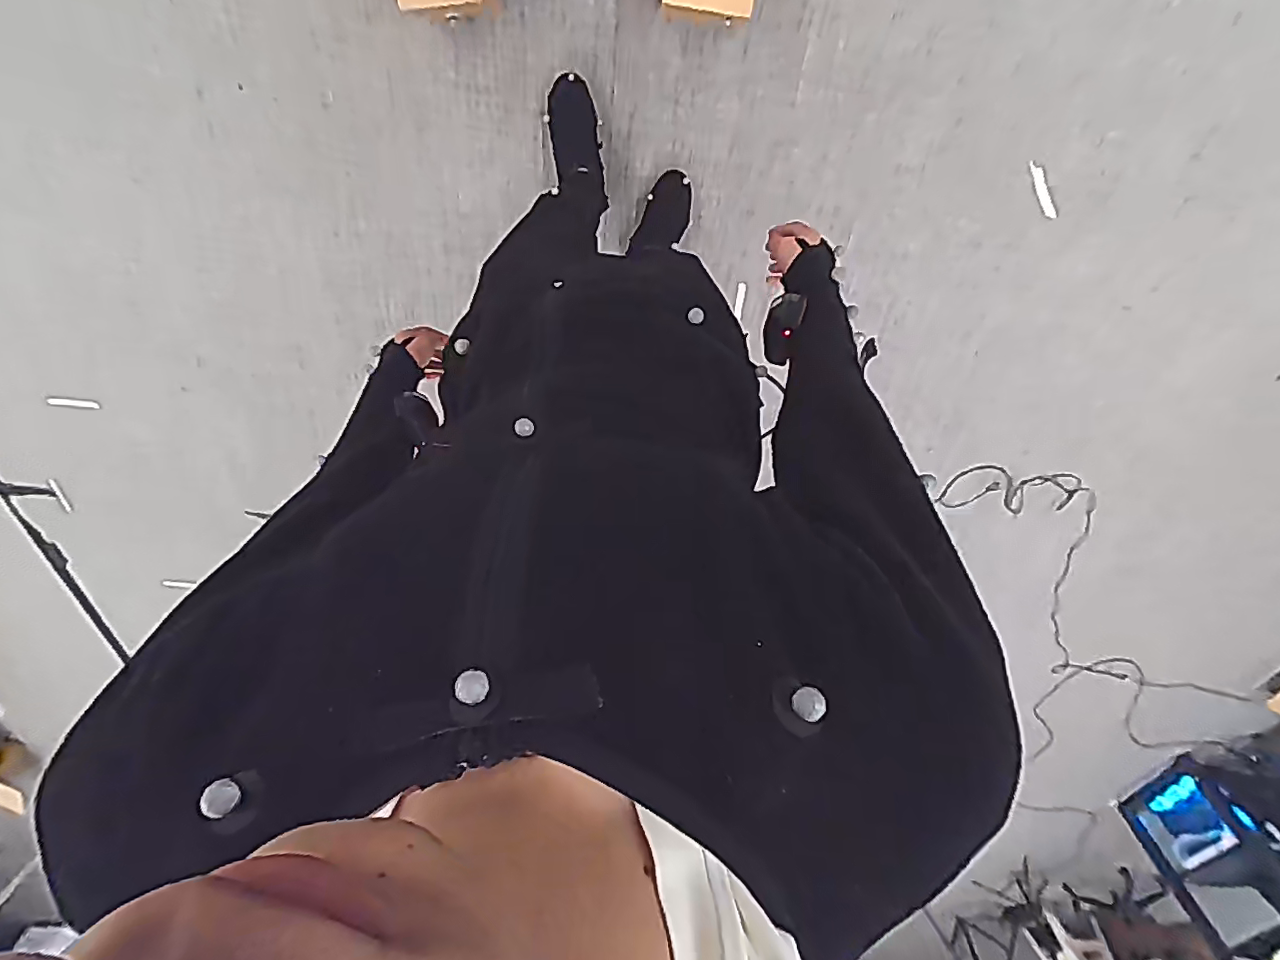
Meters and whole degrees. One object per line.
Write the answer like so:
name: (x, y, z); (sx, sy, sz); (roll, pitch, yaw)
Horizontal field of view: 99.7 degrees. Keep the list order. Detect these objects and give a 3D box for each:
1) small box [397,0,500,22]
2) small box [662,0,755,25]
small box: (-0.382, -1.015, 1.040); (0.168, 0.176, 0.179); (-3, 125, 4)
small box: (0.139, -1.003, 1.042); (0.179, 0.176, 0.168); (5, 125, -4)
